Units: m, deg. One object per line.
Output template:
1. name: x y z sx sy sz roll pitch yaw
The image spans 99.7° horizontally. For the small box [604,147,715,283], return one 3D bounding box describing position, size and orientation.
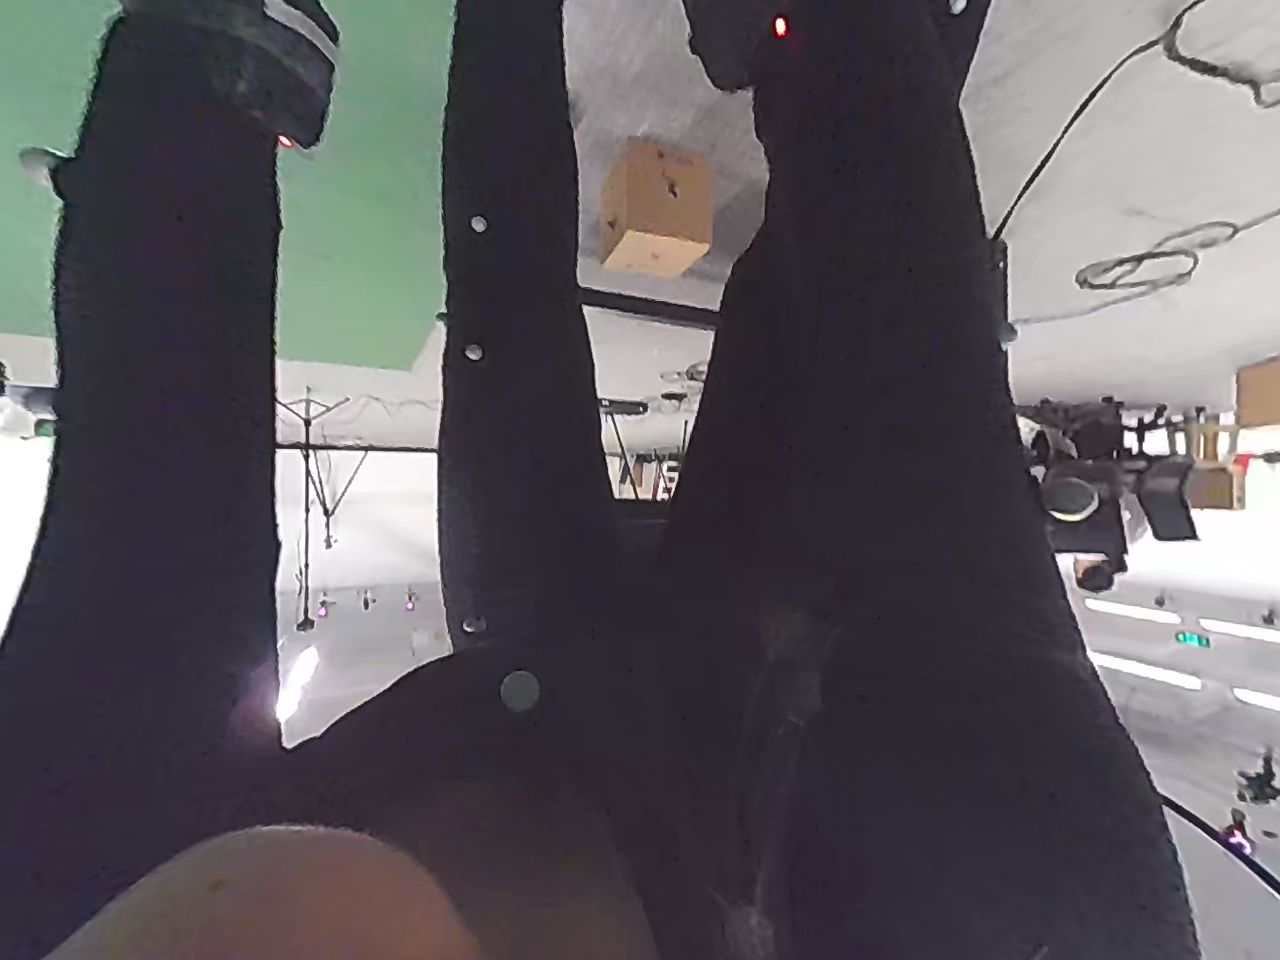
1. small box: 0.031 -0.502 1.040 0.168 0.176 0.179 1 179 -20
